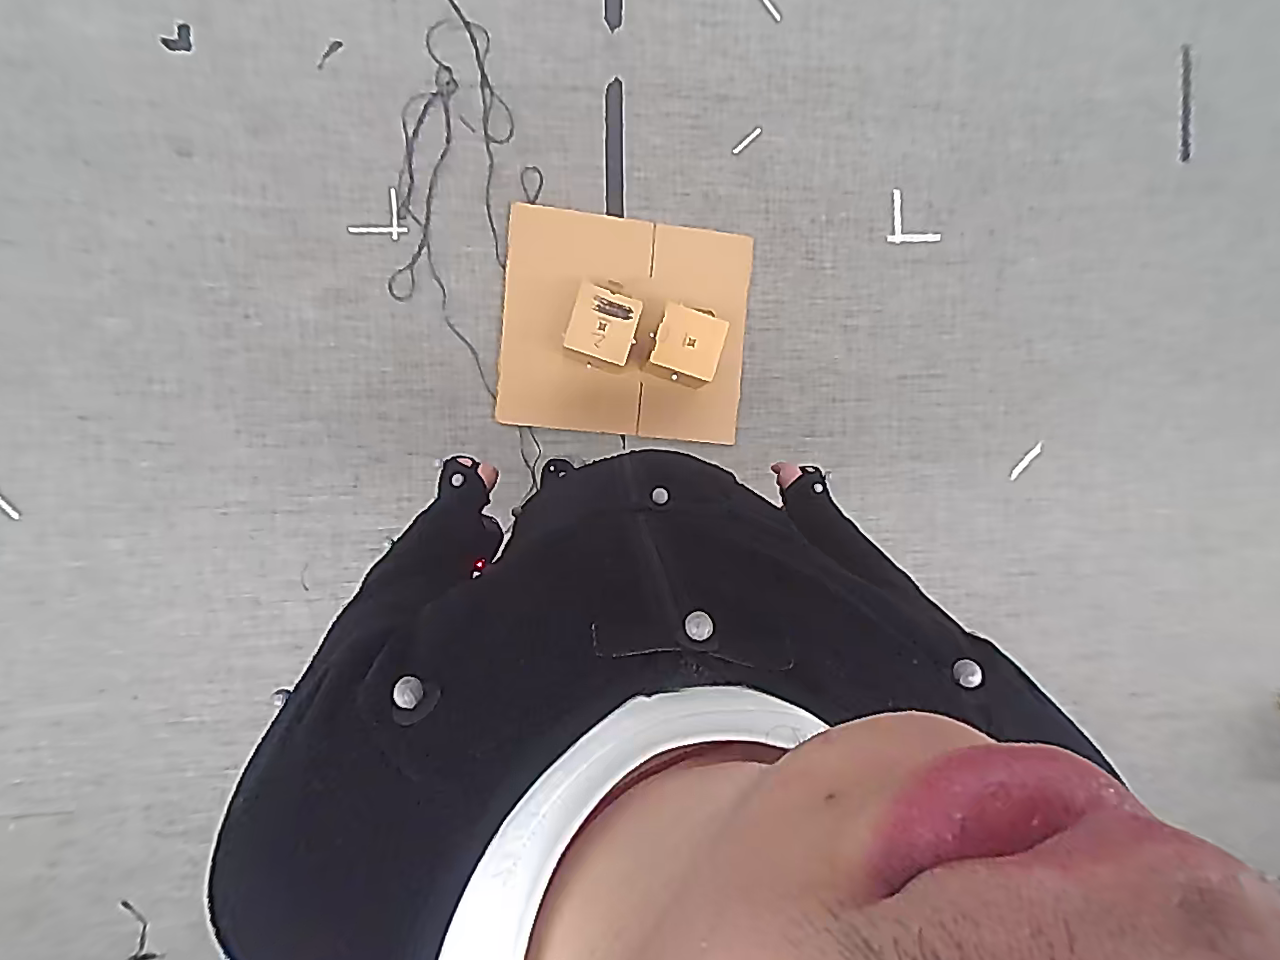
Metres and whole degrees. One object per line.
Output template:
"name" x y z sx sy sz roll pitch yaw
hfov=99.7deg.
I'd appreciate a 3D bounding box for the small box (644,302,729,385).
"small box" 0.123 -0.369 1.501 0.179 0.176 0.168 17 91 -7
